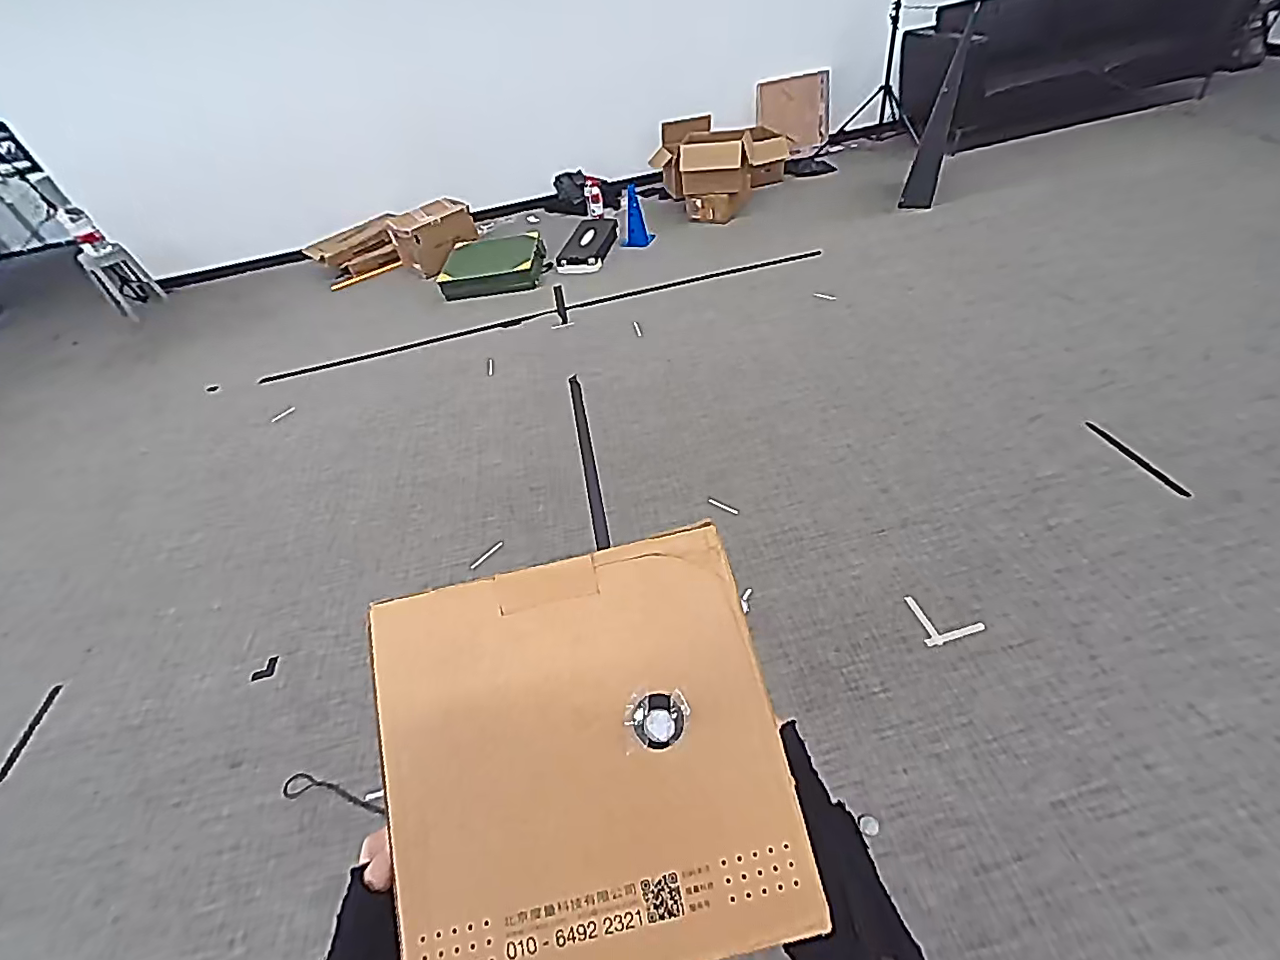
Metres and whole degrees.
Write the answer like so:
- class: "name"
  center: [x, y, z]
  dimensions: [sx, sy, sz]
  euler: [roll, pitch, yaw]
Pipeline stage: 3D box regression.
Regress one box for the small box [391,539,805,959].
- class: "small box"
  center: [-0.018, 0.146, 0.321]
  dimensions: [0.168, 0.179, 0.176]
  euler: [-13, 75, 0]
